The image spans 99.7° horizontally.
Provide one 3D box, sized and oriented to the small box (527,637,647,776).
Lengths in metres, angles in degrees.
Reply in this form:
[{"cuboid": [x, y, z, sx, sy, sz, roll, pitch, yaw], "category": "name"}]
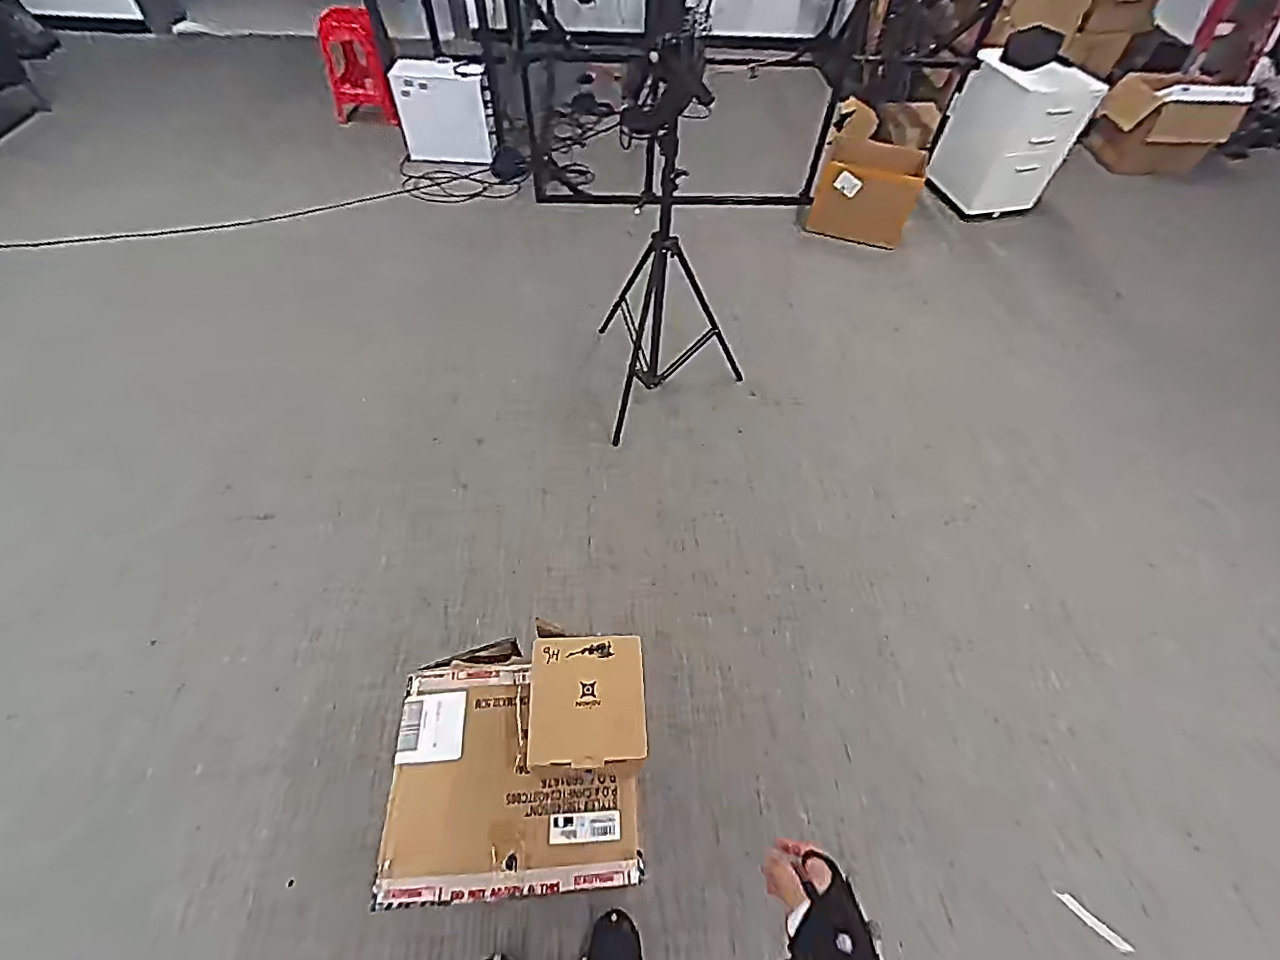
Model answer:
[{"cuboid": [-0.079, 0.356, 0.839, 0.168, 0.176, 0.179, 0, 57, -6], "category": "small box"}]
